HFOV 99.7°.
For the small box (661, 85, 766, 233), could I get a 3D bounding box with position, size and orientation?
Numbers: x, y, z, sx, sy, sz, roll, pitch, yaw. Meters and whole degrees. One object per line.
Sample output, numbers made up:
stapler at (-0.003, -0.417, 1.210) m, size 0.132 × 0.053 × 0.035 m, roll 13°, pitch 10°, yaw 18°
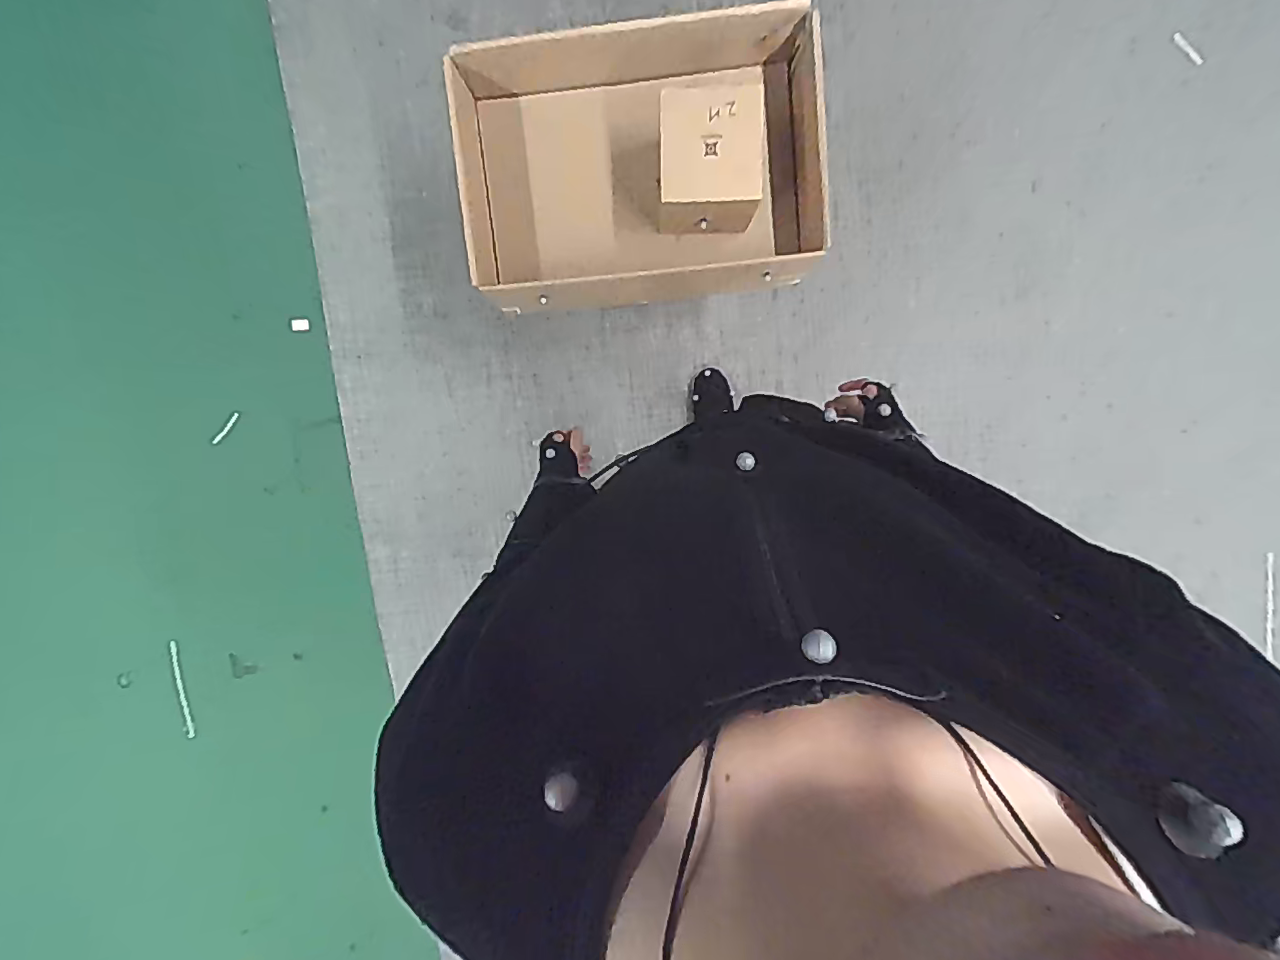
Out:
small box at (0.121, -0.540, 0.936) m, size 0.168 × 0.176 × 0.179 m, roll 0°, pitch 96°, yaw 3°
